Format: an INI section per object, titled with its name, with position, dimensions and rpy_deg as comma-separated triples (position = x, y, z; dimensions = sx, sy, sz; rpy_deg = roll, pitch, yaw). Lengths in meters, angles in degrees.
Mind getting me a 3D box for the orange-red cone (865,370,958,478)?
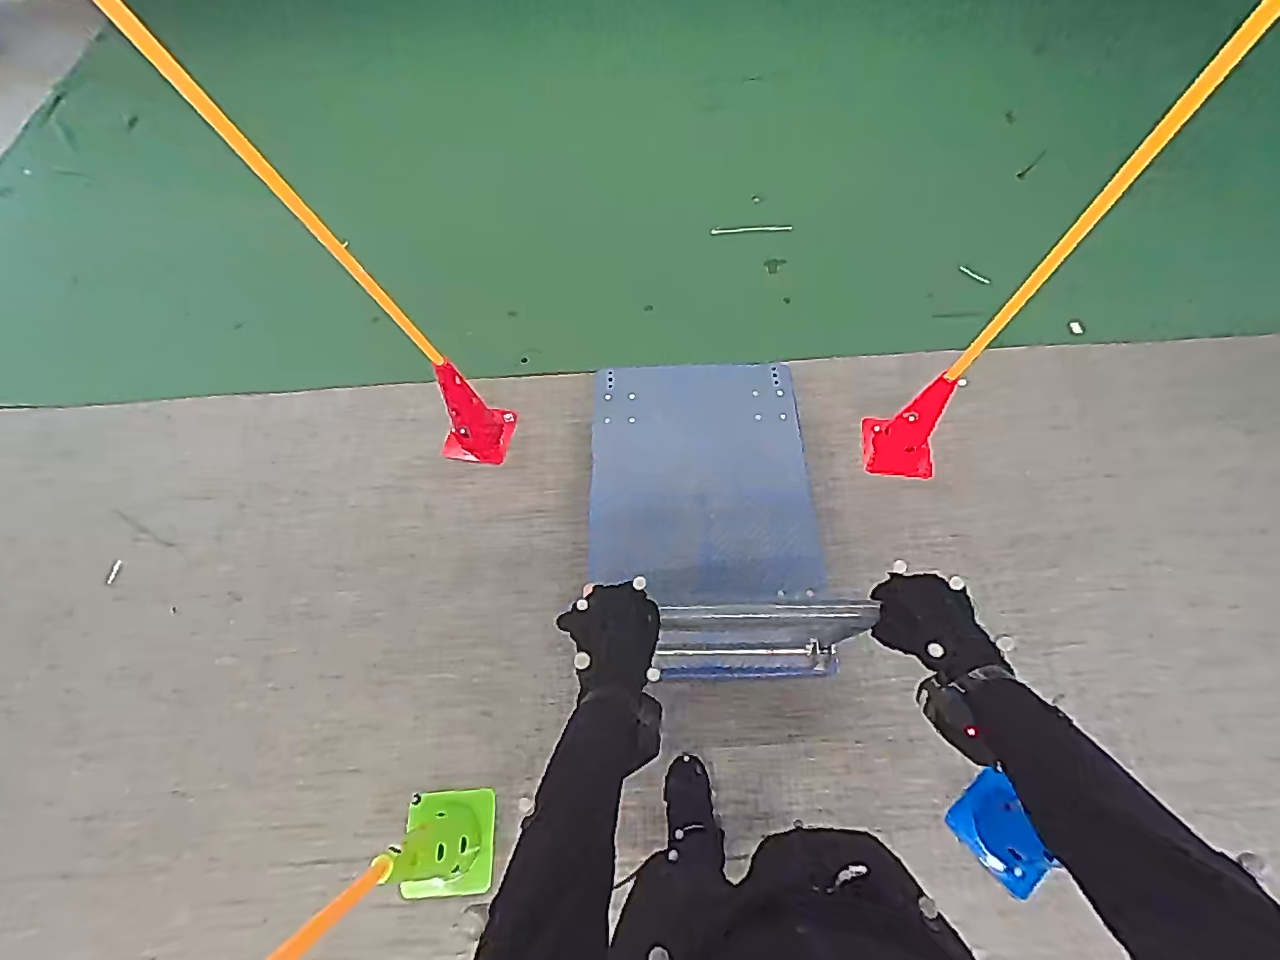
[orange-red cone]
position = 0.775, -0.177, 1.485
dimensions = 0.198, 0.360, 0.199
rpy_deg = 6, 64, 6
